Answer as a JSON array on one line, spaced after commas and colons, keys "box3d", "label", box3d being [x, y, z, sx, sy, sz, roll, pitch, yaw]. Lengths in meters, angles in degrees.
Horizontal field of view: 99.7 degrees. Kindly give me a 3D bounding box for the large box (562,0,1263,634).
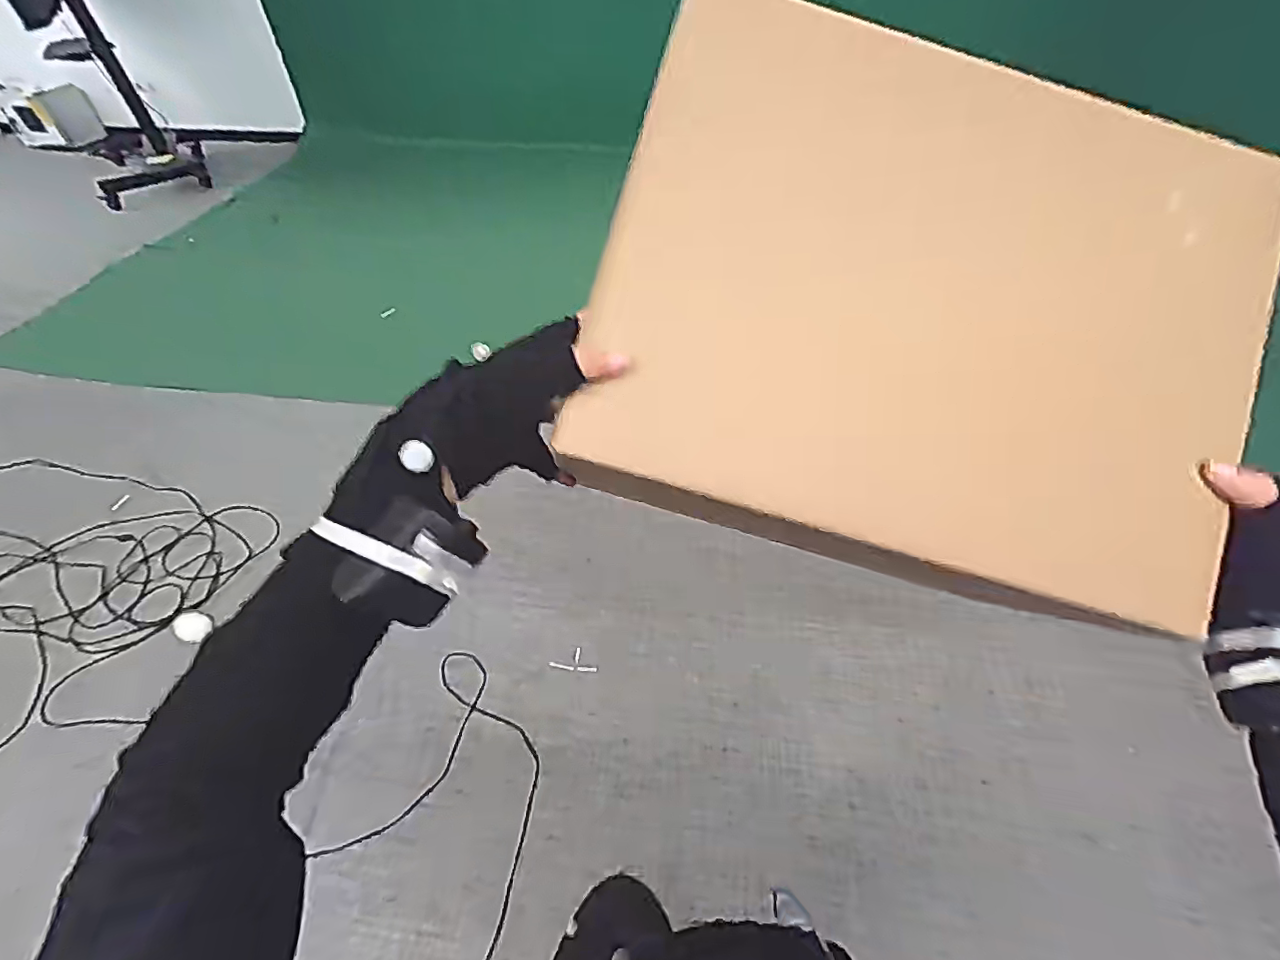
[{"box3d": [0.171, -0.093, 0.480, 0.408, 0.320, 0.320, 17, 85, -1], "label": "large box"}]
